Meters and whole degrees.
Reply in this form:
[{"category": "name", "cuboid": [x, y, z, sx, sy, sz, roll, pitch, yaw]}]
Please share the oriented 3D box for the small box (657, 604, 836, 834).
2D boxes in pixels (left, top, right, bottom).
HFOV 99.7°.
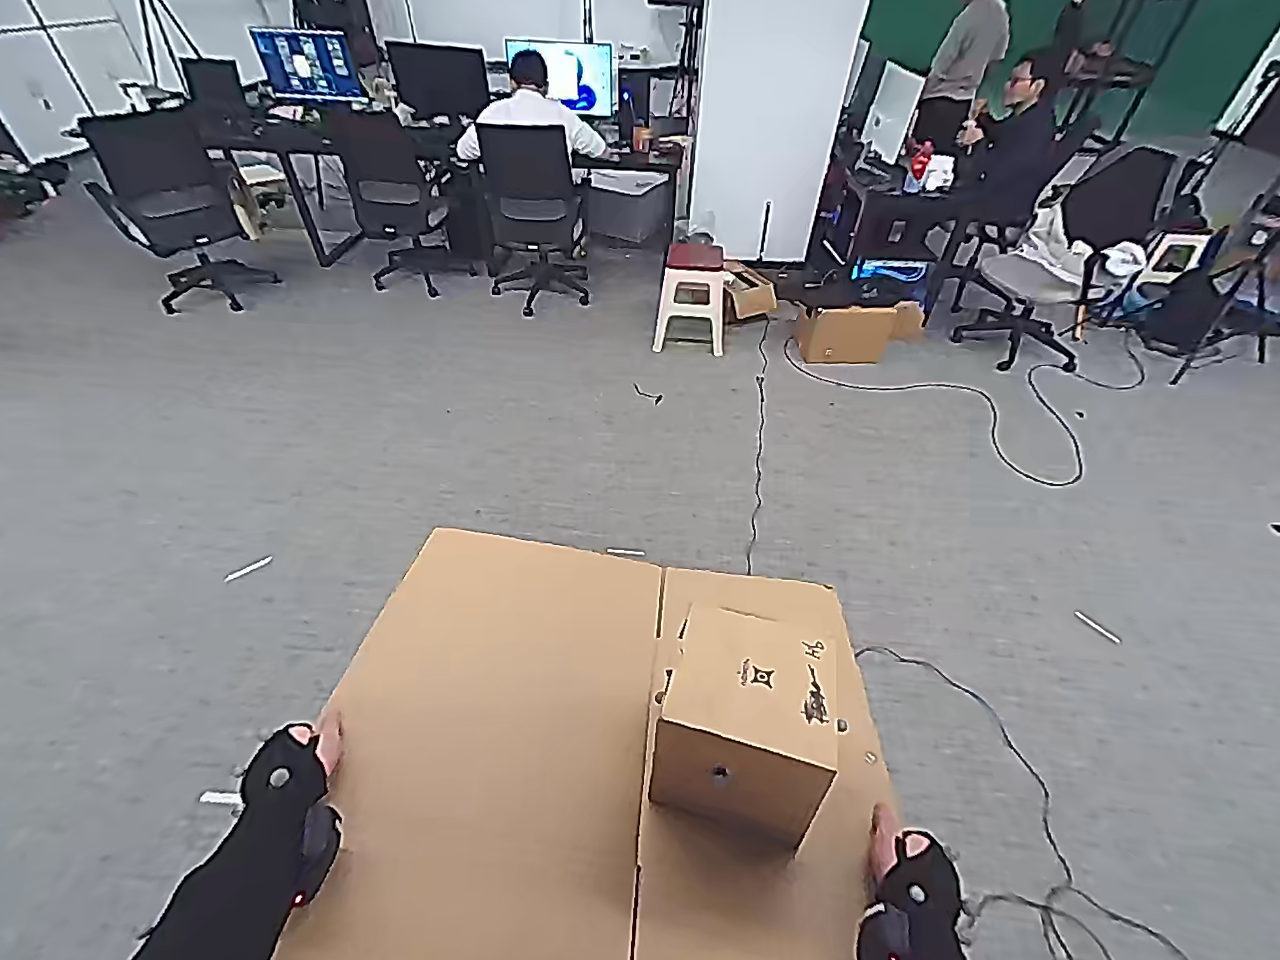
[{"category": "small box", "cuboid": [0.123, 0.279, 0.638, 0.179, 0.176, 0.168, 11, 36, 12]}]
